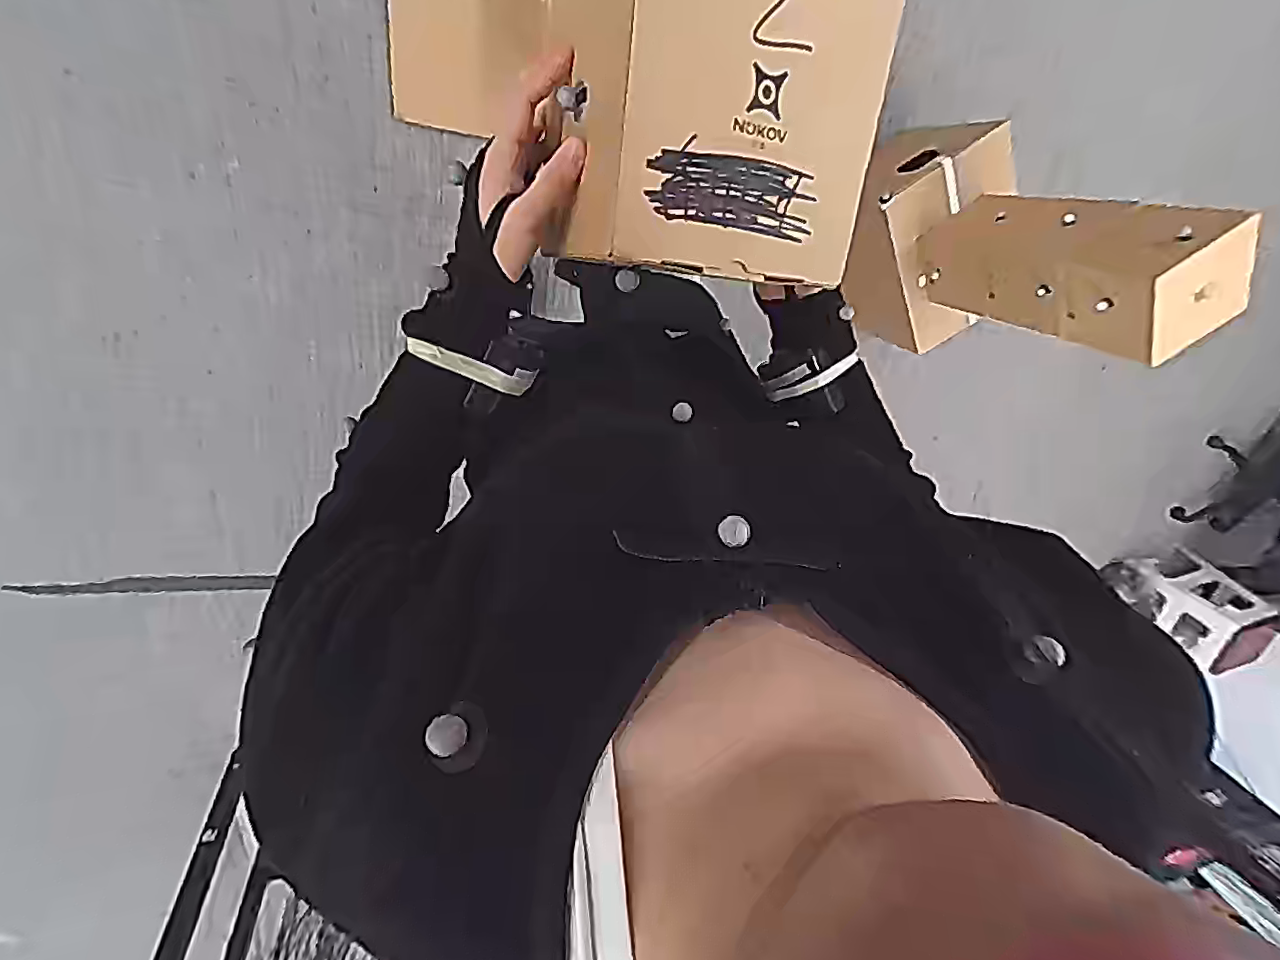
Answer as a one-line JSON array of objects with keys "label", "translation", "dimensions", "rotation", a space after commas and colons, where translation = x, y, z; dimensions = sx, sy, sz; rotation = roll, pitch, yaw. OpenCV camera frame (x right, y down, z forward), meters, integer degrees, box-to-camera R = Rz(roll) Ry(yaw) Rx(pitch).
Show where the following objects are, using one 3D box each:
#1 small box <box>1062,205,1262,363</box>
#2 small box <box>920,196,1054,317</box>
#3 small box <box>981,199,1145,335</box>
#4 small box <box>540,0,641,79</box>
[{"label": "small box", "translation": [0.833, -0.325, 0.886], "dimensions": [0.179, 0.176, 0.168], "rotation": [-34, 123, 3]}, {"label": "small box", "translation": [0.742, -0.484, 1.157], "dimensions": [0.179, 0.176, 0.168], "rotation": [-33, 123, 3]}, {"label": "small box", "translation": [0.789, -0.407, 1.020], "dimensions": [0.179, 0.176, 0.168], "rotation": [-34, 123, 2]}, {"label": "small box", "translation": [-0.097, -0.878, 1.014], "dimensions": [0.168, 0.176, 0.179], "rotation": [-6, 121, -12]}]
